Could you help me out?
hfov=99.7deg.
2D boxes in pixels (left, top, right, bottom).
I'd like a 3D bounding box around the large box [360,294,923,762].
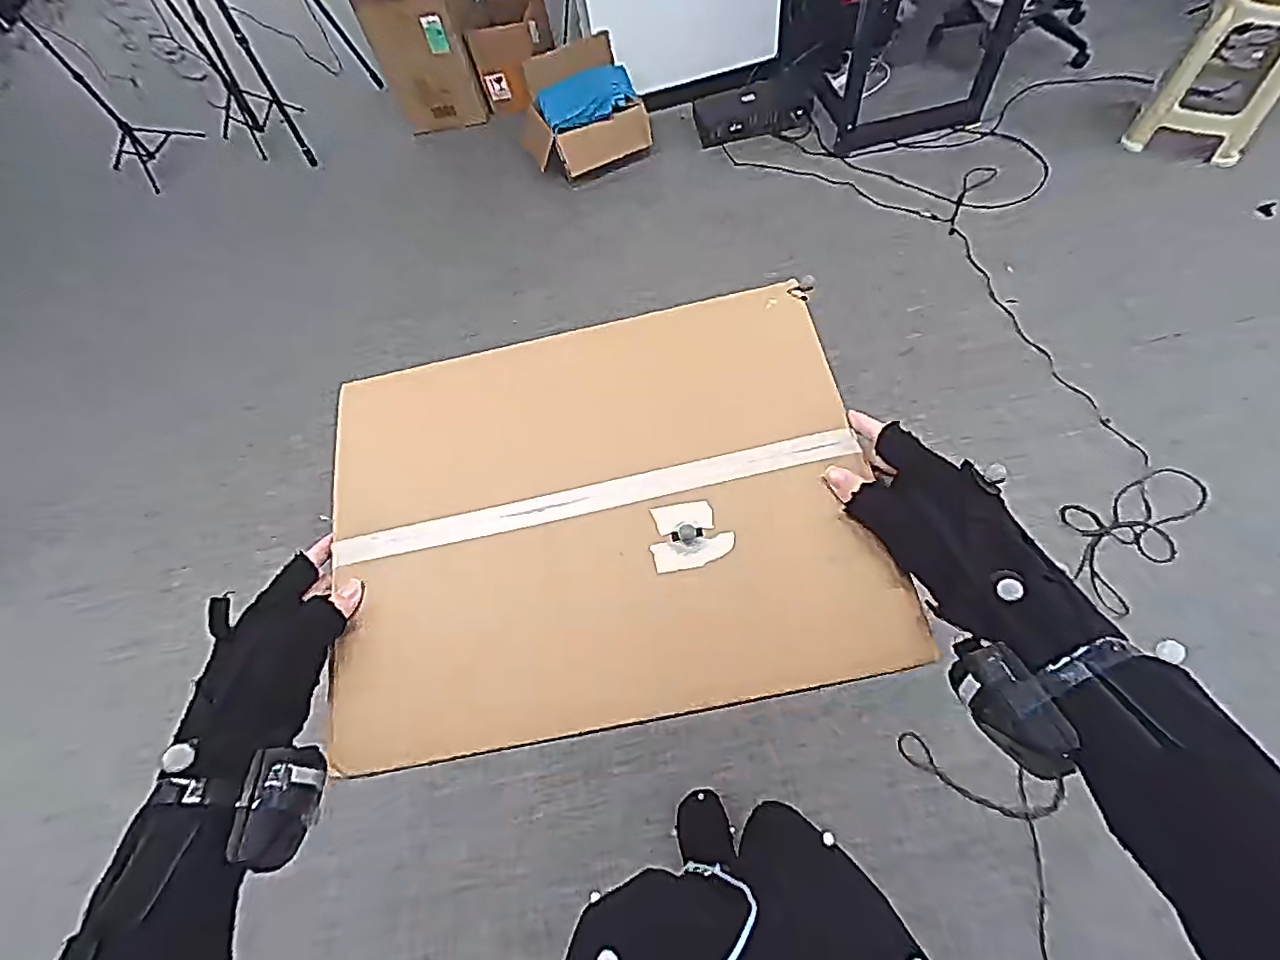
[{"bbox_3d":[-0.013,0.071,0.562,0.408,0.320,0.320,-12,68,2],"label":"large box"}]
